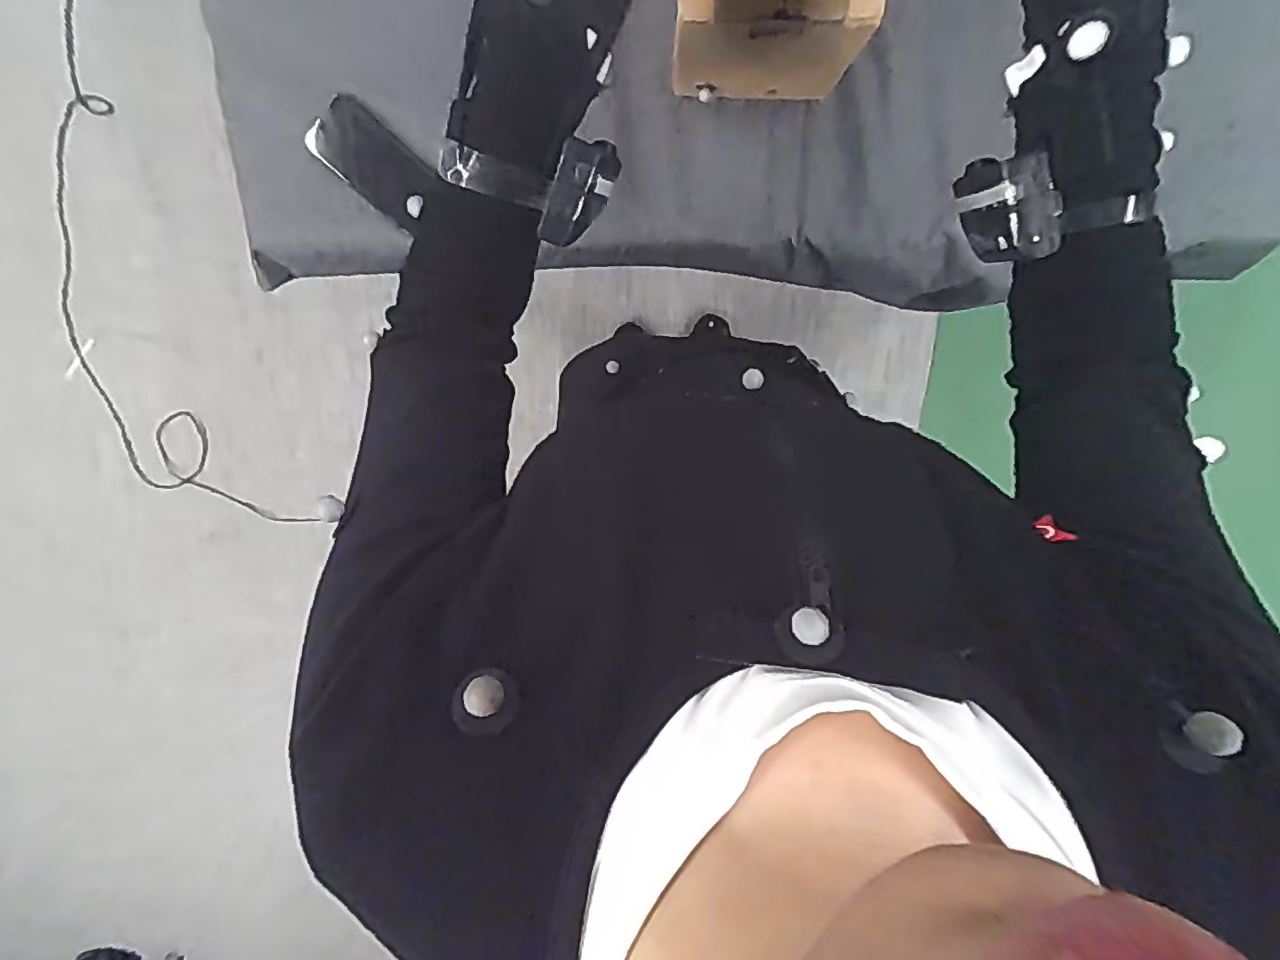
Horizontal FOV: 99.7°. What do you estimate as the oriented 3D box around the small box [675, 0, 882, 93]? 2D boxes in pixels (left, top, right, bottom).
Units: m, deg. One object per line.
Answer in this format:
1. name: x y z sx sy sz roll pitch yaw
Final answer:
1. small box: 0.120 -0.480 0.489 0.168 0.176 0.179 3 106 1
